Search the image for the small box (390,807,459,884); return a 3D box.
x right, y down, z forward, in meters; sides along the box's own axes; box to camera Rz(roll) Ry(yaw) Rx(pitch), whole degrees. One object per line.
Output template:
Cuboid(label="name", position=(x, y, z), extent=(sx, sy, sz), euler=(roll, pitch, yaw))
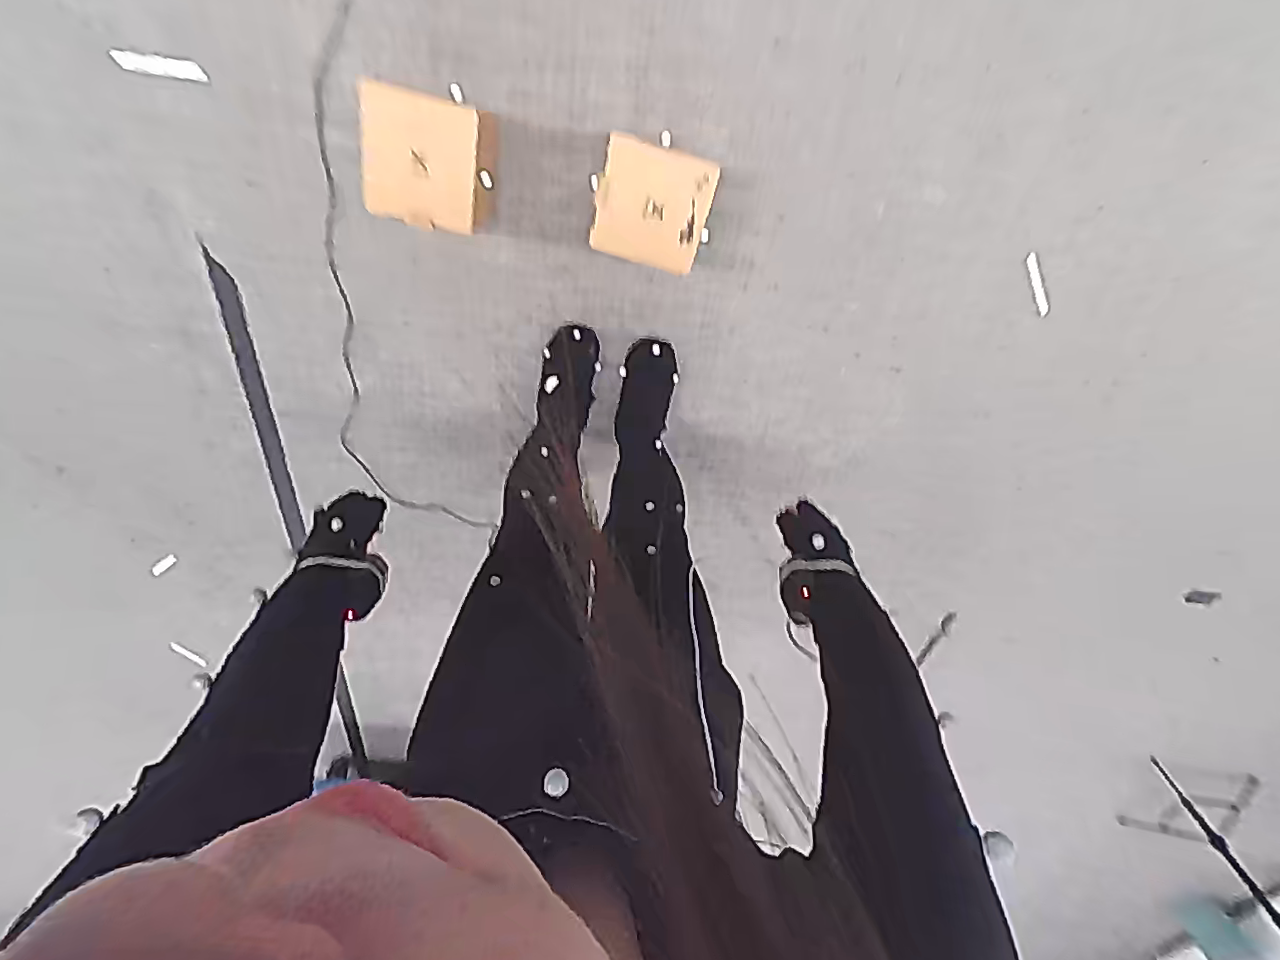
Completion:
Cuboid(label="small box", position=(-0.739, 1.257, 1.864), extent=(0.179, 0.176, 0.168), euler=(9, 124, -7))

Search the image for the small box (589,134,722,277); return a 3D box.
Cuboid(label="small box", position=(0.021, -0.470, 0.923), extent=(0.179, 0.176, 0.168), euler=(13, 123, -9))

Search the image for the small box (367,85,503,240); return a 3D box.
Cuboid(label="small box", position=(-0.329, -0.520, 0.889), extent=(0.168, 0.176, 0.179), euler=(11, 123, -8))
